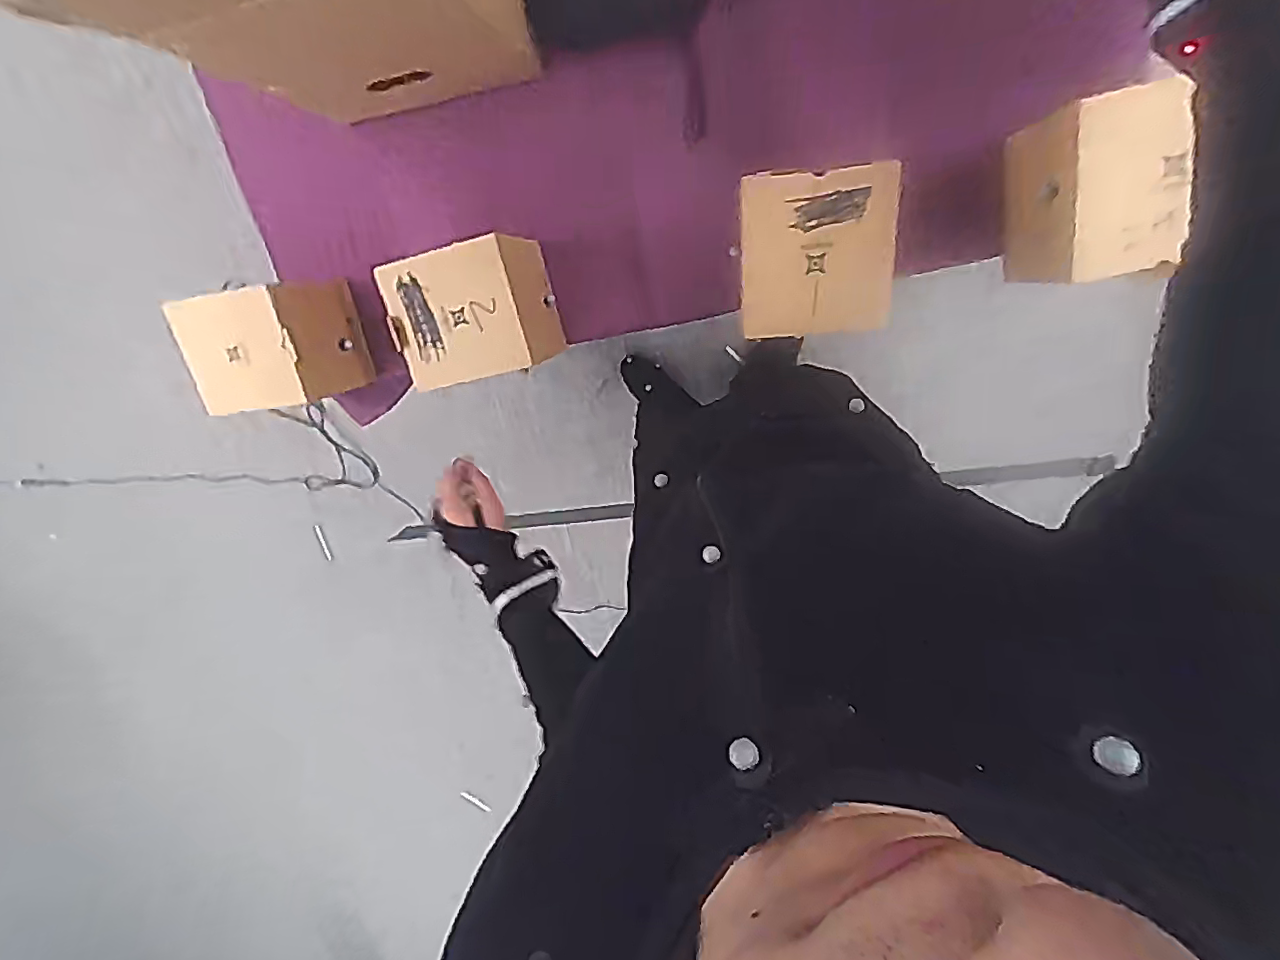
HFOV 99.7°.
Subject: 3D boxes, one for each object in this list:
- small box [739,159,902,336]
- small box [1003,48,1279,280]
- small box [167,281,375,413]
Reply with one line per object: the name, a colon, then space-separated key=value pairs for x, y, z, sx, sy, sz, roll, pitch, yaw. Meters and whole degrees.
small box: x=0.211 y=-0.283 z=0.679 sx=0.168 sy=0.176 sz=0.179 roll=-1 pitch=112 yaw=10
small box: x=0.532 y=-0.328 z=0.604 sx=0.168 sy=0.176 sz=0.179 roll=-7 pitch=110 yaw=14
small box: x=-0.554 y=-0.210 z=0.838 sx=0.179 sy=0.176 sz=0.168 roll=-6 pitch=110 yaw=10
